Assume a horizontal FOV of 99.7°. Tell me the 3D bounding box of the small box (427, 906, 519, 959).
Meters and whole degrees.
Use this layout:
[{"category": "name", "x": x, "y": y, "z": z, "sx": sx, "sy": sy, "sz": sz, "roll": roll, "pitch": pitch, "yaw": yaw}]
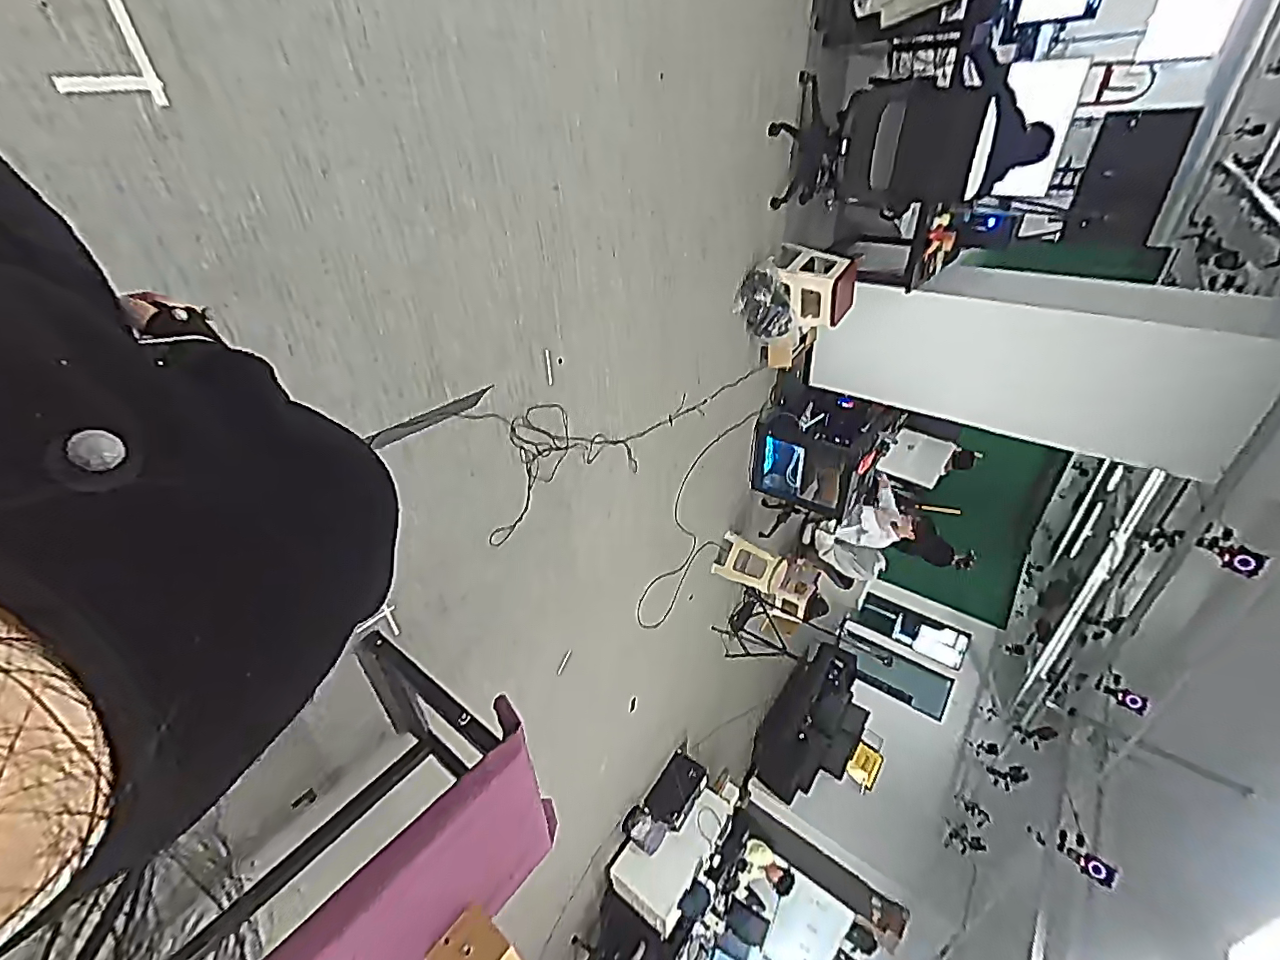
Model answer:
[{"category": "small box", "x": -0.447, "y": 1.307, "z": 1.457, "sx": 0.168, "sy": 0.176, "sz": 0.179, "roll": -37, "pitch": 134, "yaw": -39}]
